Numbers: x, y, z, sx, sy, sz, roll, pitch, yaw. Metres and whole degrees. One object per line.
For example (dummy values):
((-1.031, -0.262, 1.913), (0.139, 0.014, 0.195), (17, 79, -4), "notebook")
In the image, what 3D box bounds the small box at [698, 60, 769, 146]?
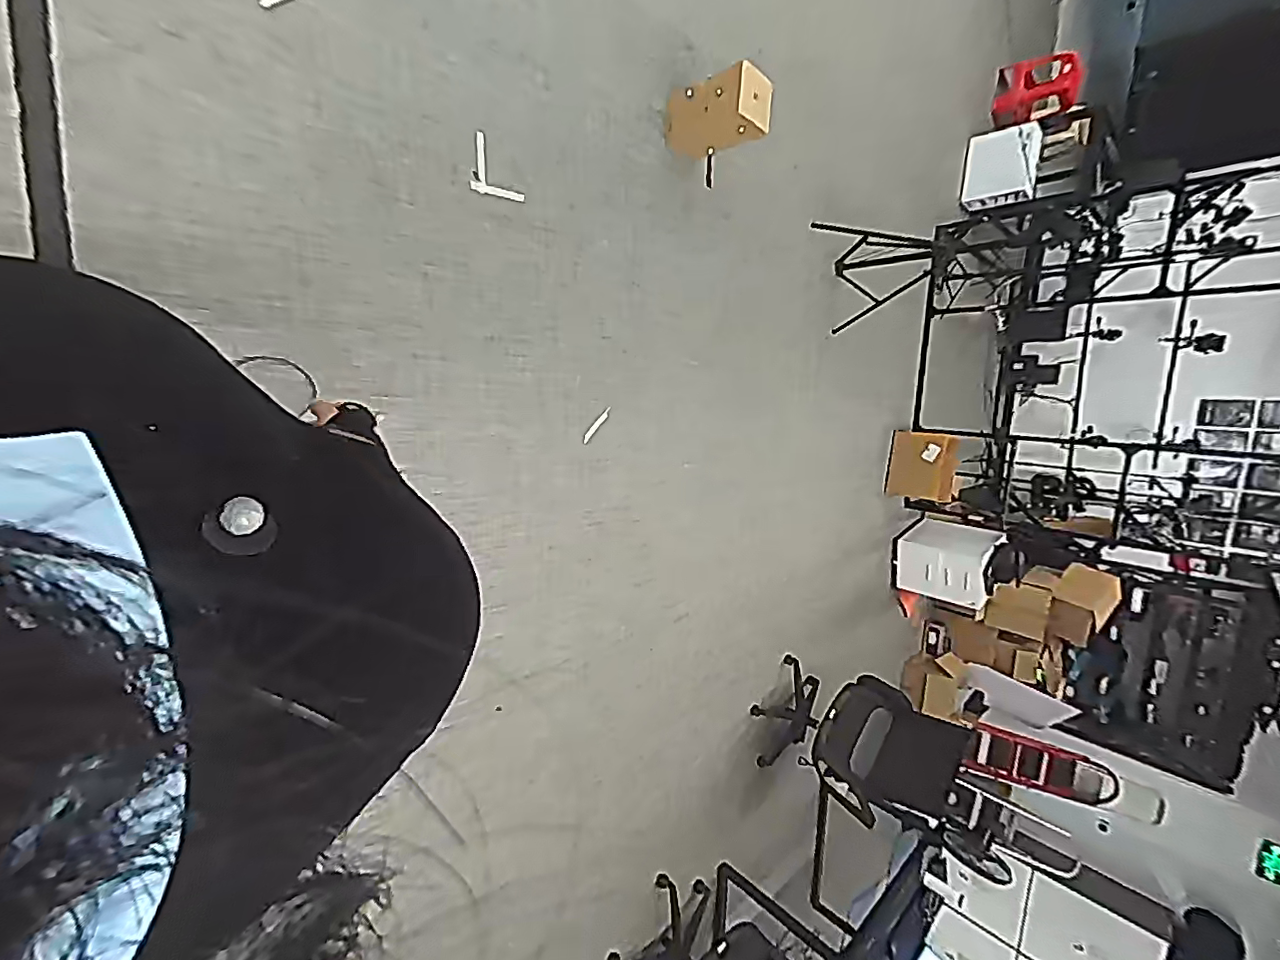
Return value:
((0.319, -1.284, 1.860), (0.179, 0.176, 0.168), (-1, 99, -45), "small box")
